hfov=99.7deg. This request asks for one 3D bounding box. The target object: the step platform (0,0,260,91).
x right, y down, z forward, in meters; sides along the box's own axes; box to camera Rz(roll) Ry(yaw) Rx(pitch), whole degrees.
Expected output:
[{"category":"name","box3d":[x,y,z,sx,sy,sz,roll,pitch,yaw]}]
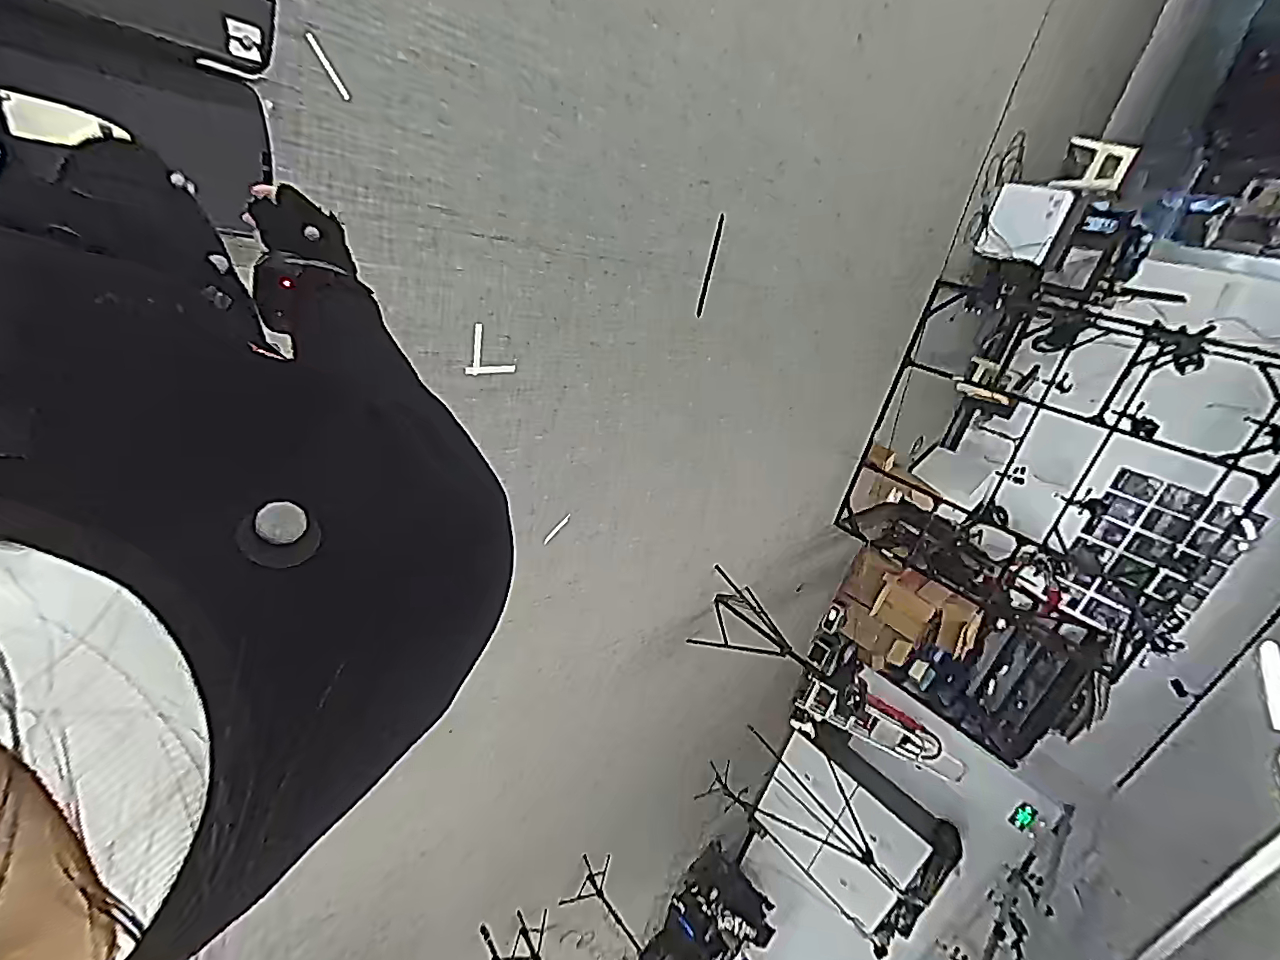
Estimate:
[{"category":"step platform","box3d":[-0.932,-0.797,0.732,0.684,0.204,0.286,-13,126,-44]}]
